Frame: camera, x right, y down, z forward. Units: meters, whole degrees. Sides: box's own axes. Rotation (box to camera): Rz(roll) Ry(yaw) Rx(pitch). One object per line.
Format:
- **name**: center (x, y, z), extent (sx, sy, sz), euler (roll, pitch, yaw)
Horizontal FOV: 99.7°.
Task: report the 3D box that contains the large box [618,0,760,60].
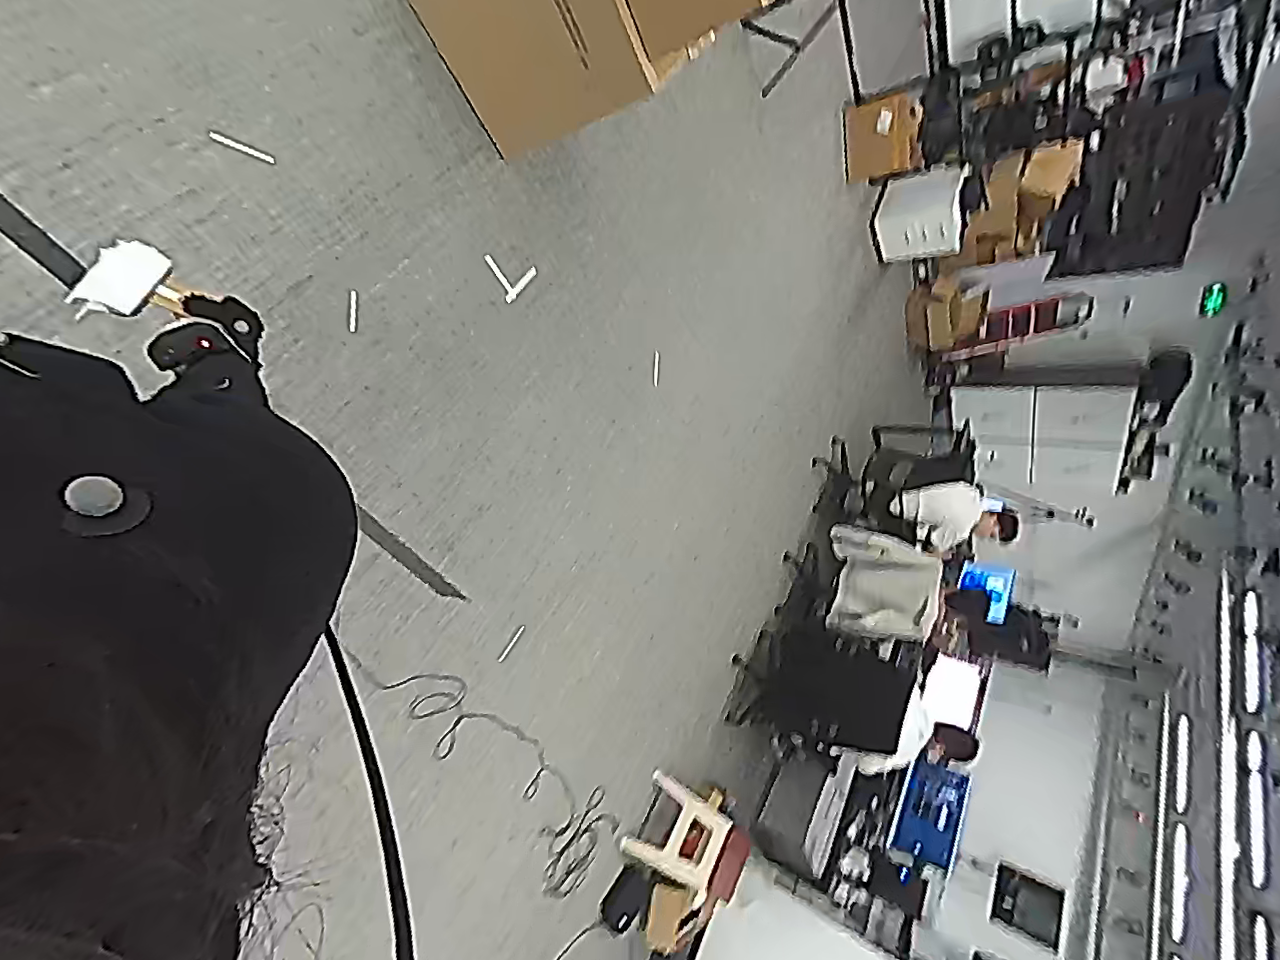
- **large box**: center (0.100, -1.261, 1.189), extent (0.320, 0.320, 0.408), euler (-59, 137, -25)
